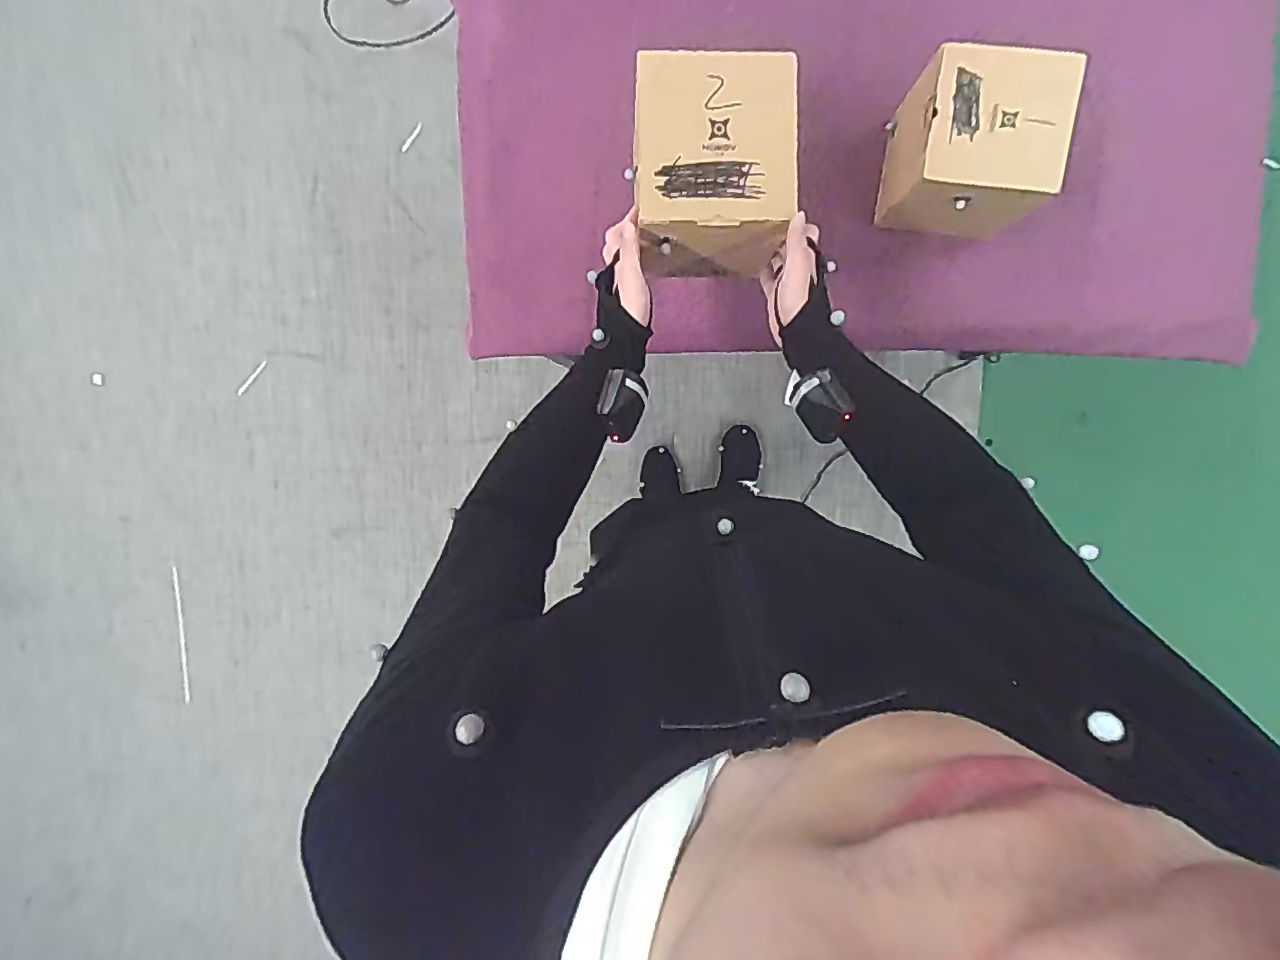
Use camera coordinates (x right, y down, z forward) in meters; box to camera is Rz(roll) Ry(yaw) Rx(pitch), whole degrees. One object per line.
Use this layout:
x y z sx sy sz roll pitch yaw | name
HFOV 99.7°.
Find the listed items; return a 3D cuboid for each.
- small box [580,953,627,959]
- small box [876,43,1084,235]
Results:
-0.133 1.683 1.743 0.179 0.176 0.168 5 97 3 | small box
0.454 -0.460 0.755 0.179 0.176 0.168 8 97 2 | small box
